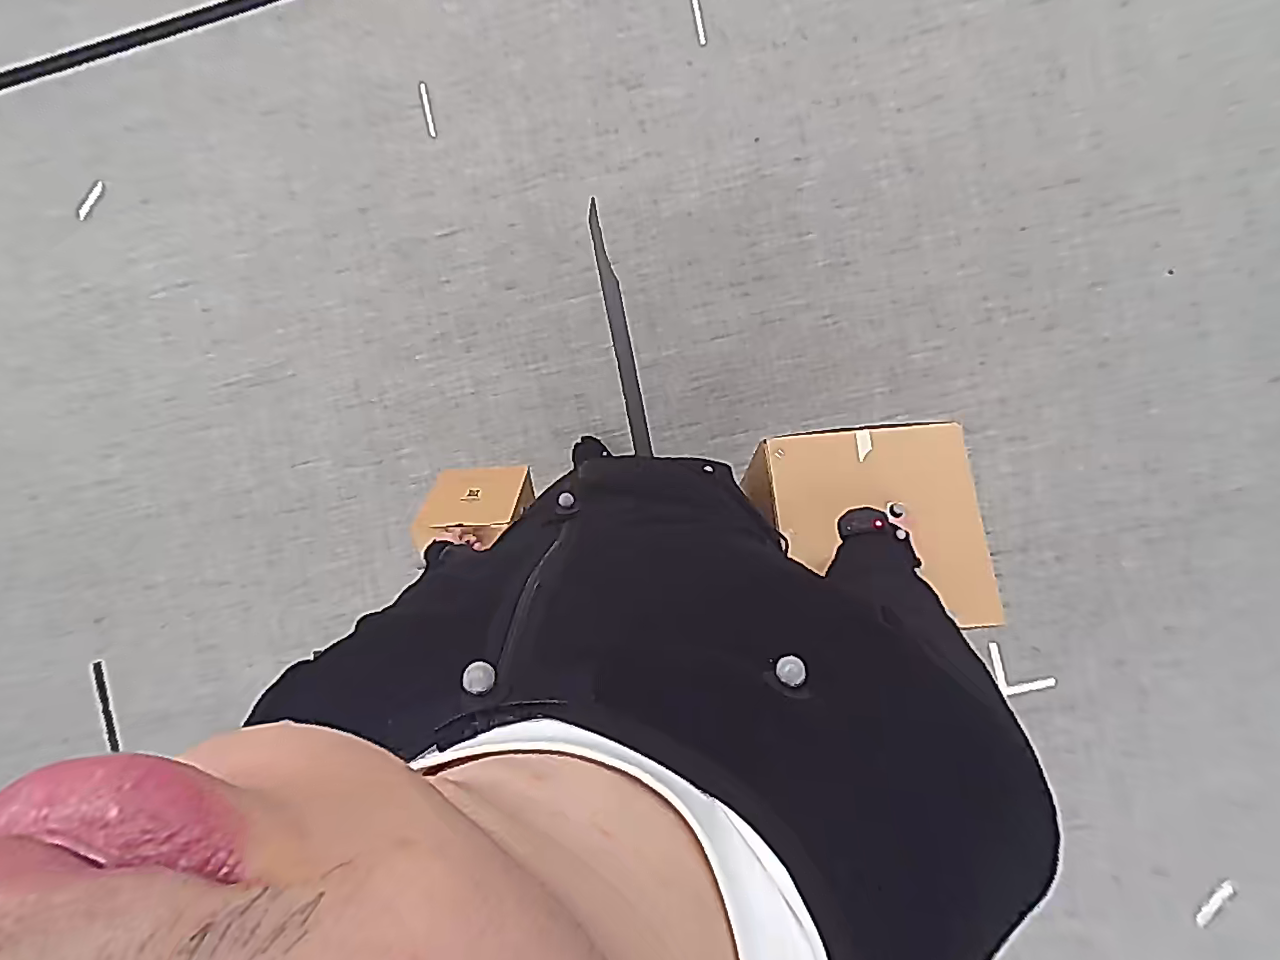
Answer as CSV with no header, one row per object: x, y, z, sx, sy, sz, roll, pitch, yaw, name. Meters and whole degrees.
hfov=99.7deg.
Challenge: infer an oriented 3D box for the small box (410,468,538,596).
-0.289,0.097,0.988,0.168,0.179,0.176,-1,125,1,small box
